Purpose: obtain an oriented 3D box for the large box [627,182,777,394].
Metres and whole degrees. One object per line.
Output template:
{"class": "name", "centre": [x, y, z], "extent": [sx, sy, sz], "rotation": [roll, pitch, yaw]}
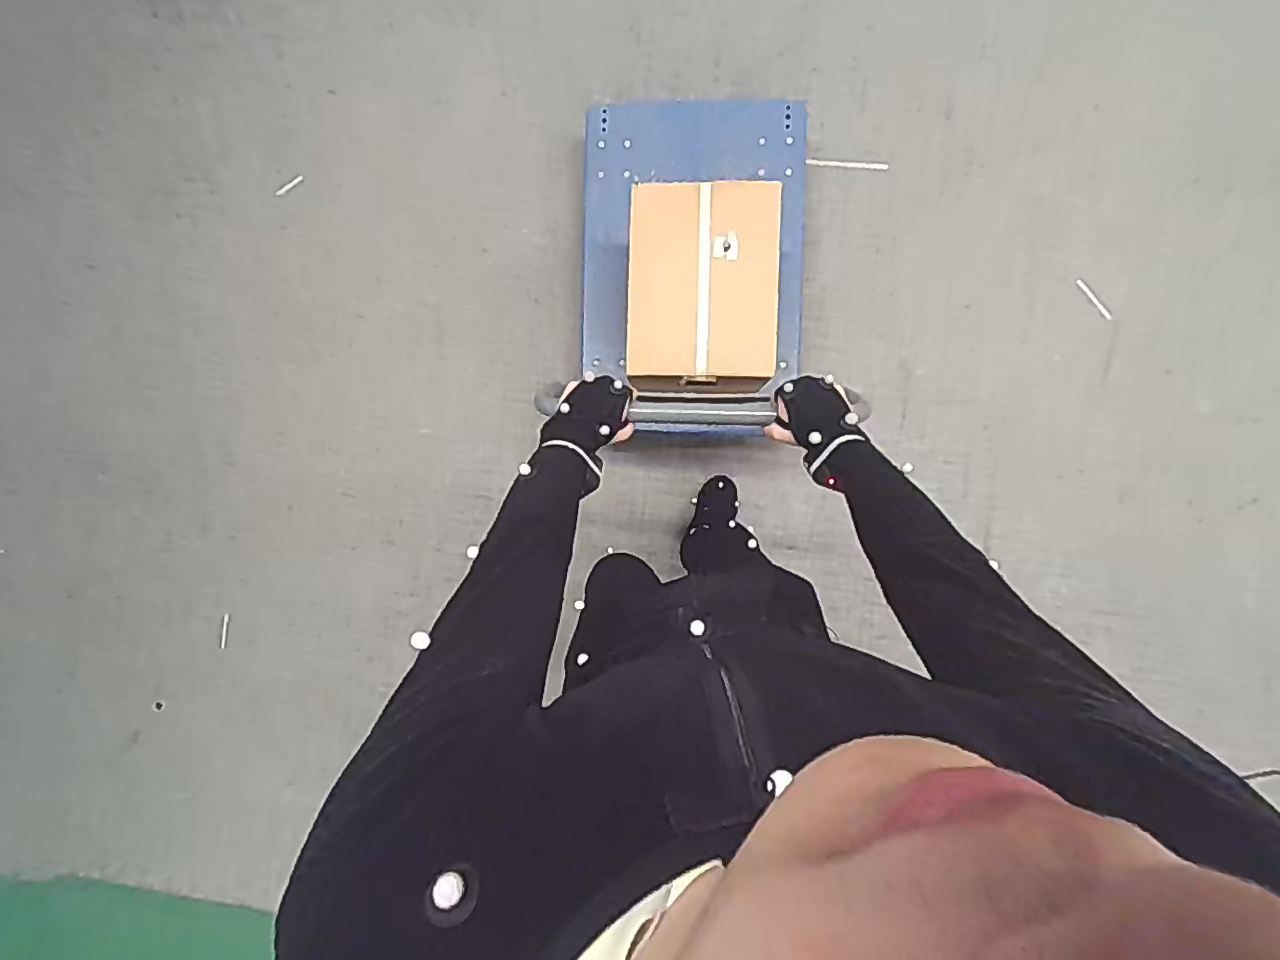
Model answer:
{"class": "large box", "centre": [0.143, -0.424, 1.283], "extent": [0.320, 0.320, 0.408], "rotation": [1, 91, 4]}
